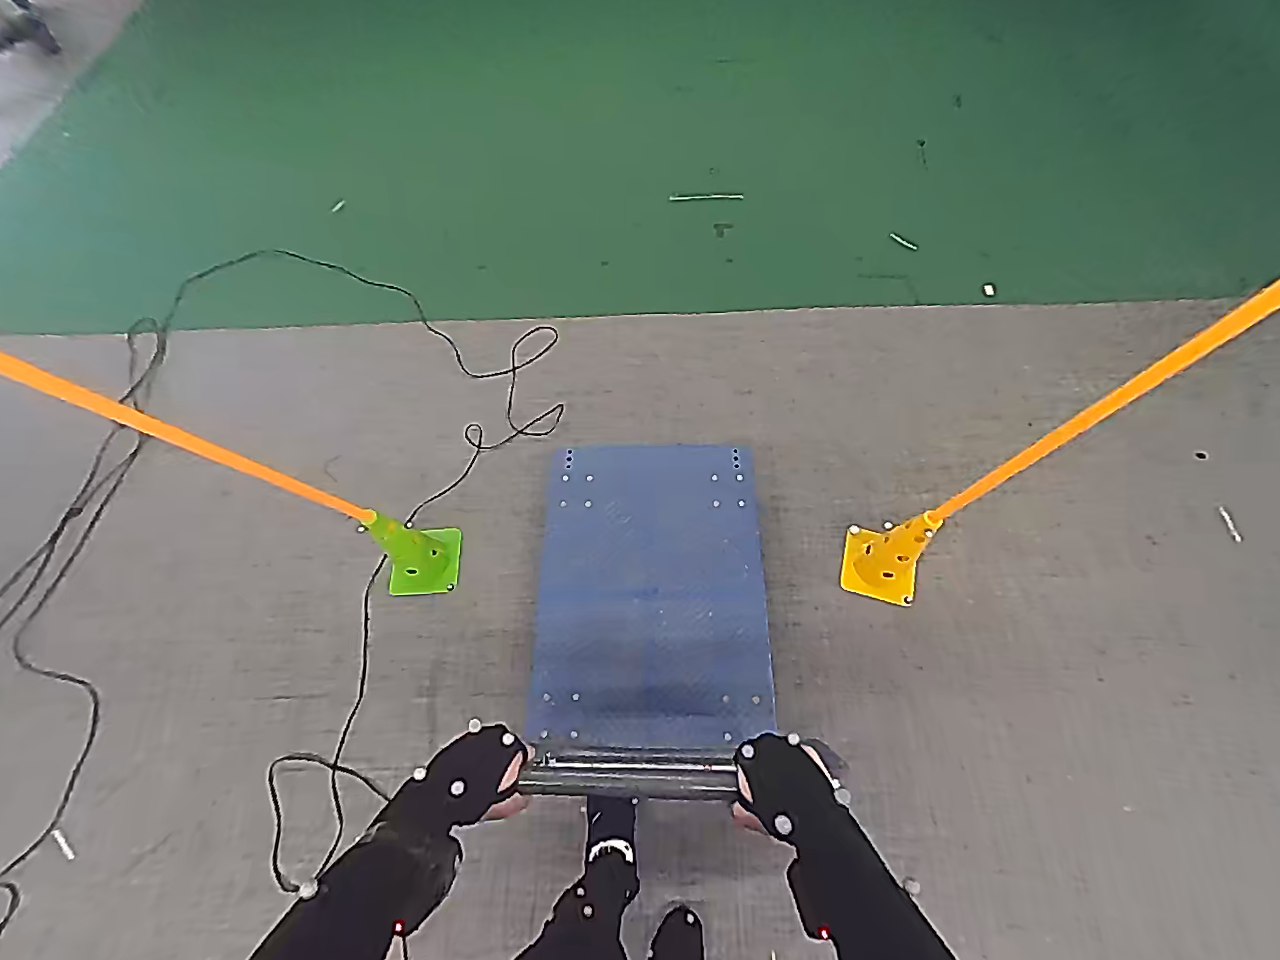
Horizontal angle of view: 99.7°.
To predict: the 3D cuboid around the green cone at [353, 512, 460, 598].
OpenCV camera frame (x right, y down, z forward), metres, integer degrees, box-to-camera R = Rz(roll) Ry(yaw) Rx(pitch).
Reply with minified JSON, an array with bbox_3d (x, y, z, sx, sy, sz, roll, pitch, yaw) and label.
[{"bbox_3d":[-0.652,0.171,1.456,0.202,0.368,0.200,-5,63,2],"label":"green cone"}]
